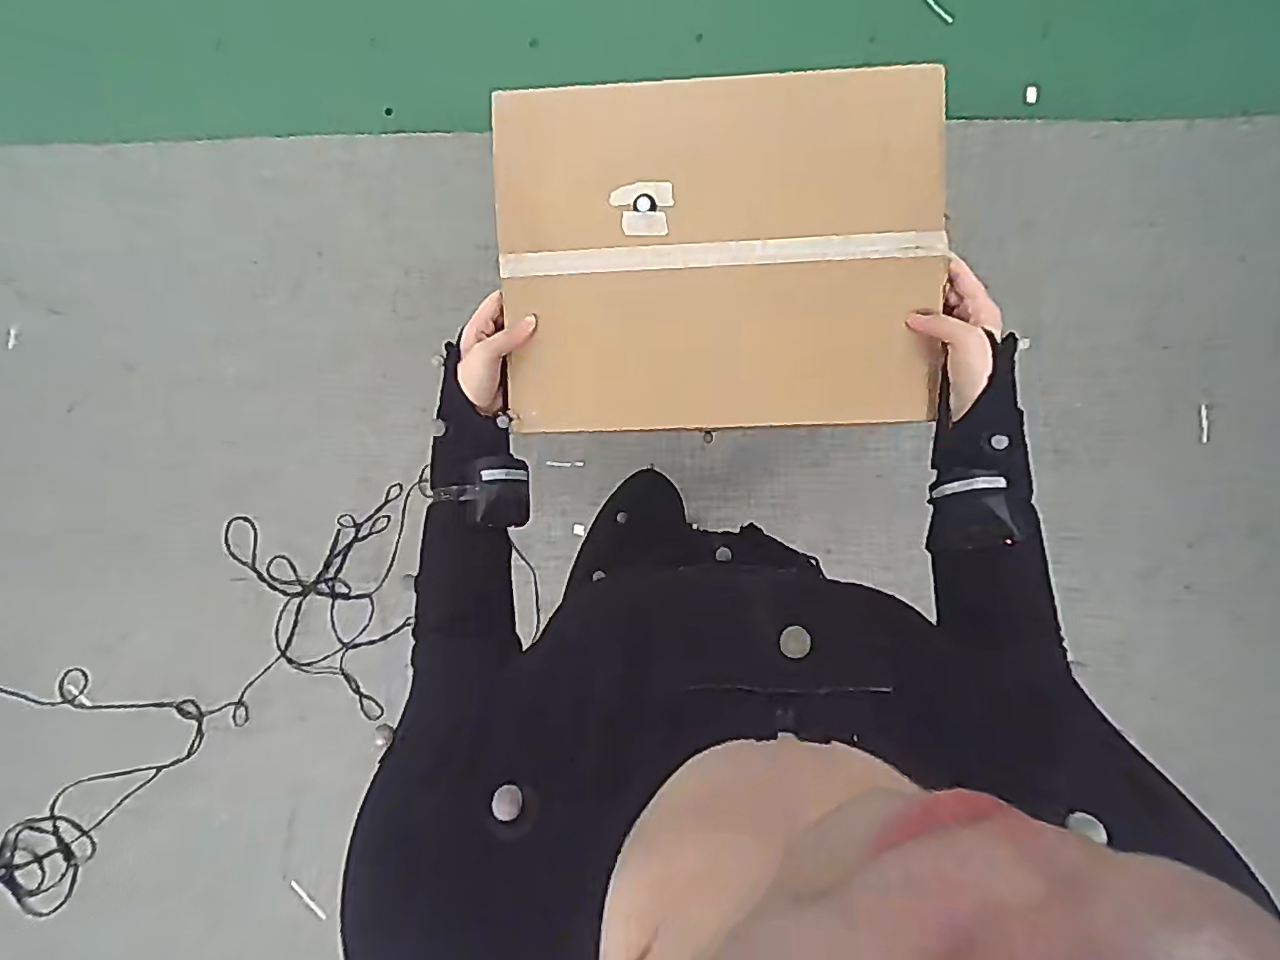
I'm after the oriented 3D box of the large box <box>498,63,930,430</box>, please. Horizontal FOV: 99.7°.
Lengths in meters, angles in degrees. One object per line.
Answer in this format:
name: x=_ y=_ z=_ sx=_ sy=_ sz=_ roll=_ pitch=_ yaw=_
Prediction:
large box: x=0.082 y=-0.227 z=0.661 sx=0.408 sy=0.320 sz=0.320 roll=-2 pitch=95 yaw=5
